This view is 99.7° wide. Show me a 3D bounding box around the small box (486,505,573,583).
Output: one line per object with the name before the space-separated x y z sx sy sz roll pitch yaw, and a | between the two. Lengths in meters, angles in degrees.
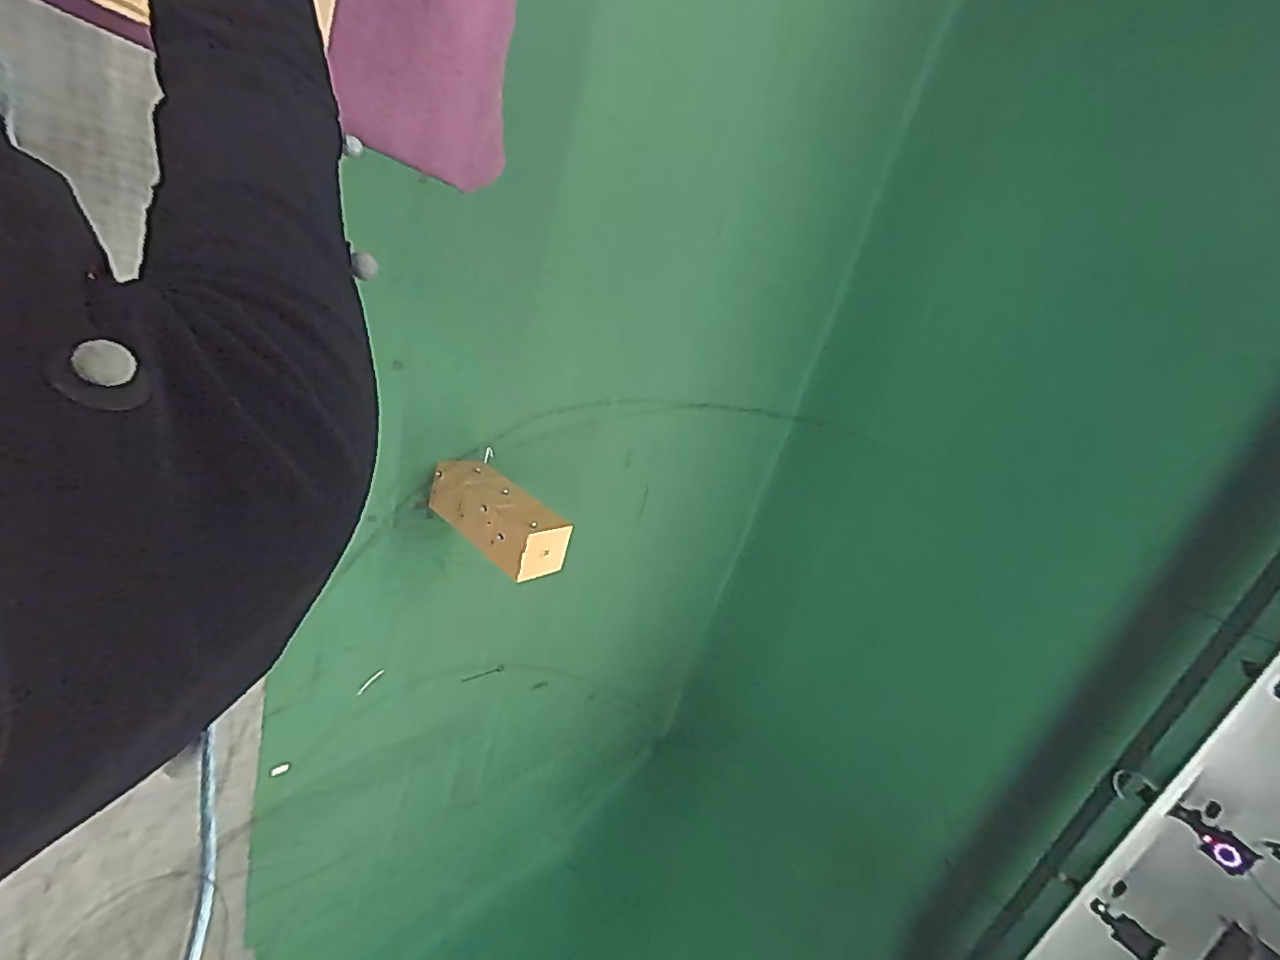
small box | -0.341 0.188 1.662 0.179 0.176 0.168 -8 121 -51

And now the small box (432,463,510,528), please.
small box | -0.578 0.047 1.838 0.179 0.176 0.168 -4 119 -52
